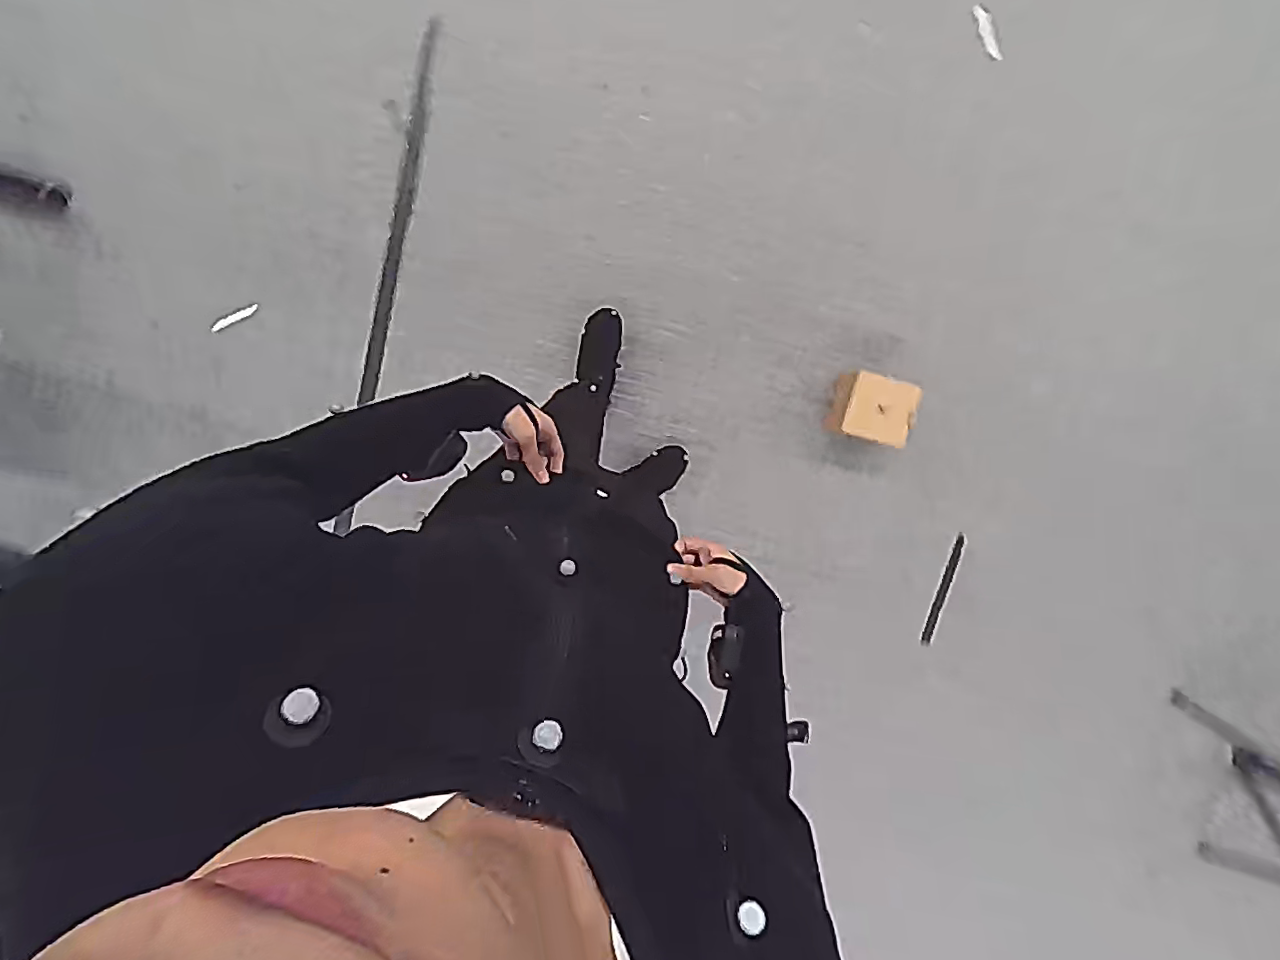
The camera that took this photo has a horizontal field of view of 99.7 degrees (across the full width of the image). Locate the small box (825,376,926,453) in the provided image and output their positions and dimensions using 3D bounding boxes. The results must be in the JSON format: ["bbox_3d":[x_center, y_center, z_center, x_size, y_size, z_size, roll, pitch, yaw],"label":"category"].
[{"bbox_3d":[0.640,-0.183,1.492,0.179,0.176,0.168,16,98,-2],"label":"small box"}]
